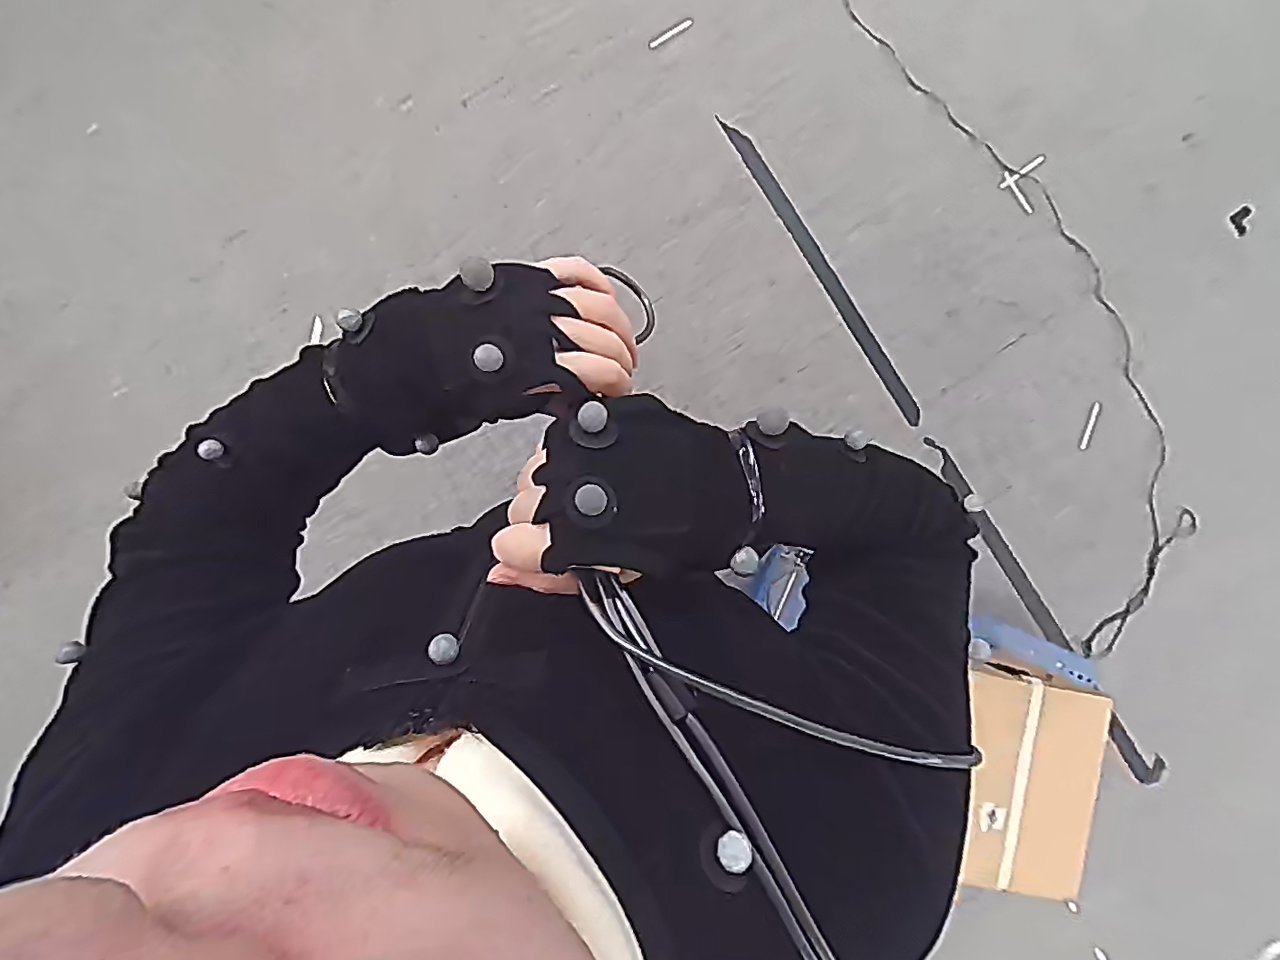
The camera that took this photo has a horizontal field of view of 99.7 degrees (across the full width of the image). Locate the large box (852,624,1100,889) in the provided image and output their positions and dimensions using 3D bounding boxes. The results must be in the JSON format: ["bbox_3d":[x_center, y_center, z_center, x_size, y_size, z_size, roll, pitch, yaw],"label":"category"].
[{"bbox_3d":[0.711,0.575,1.199,0.320,0.320,0.408,12,90,-1],"label":"large box"}]
